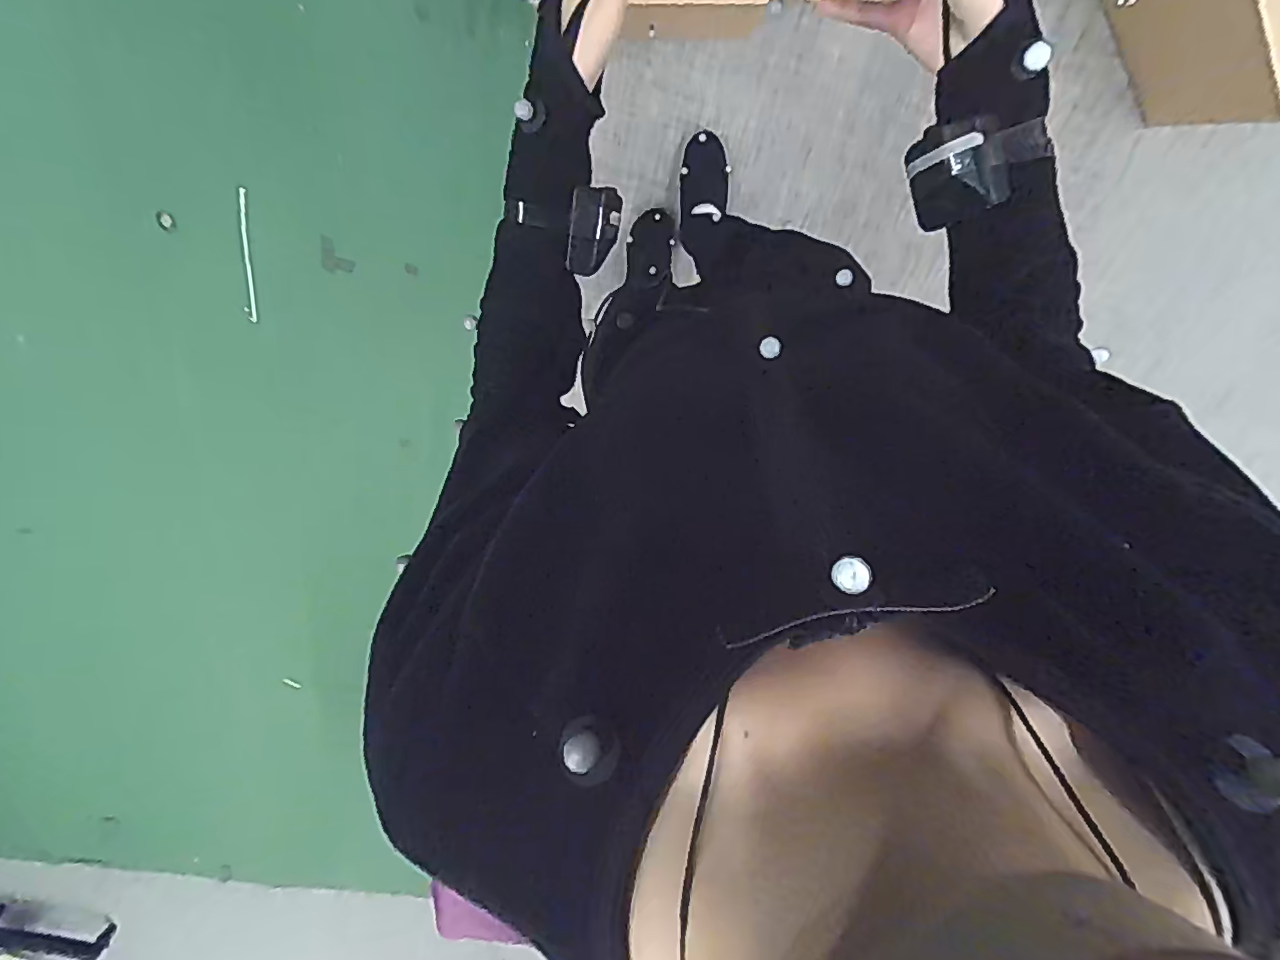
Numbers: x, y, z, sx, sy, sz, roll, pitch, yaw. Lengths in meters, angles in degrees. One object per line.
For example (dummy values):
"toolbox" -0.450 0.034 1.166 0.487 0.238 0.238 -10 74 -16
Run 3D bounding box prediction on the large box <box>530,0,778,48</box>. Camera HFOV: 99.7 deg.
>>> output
"large box" 0.022 -0.958 0.921 0.408 0.320 0.320 0 119 1
